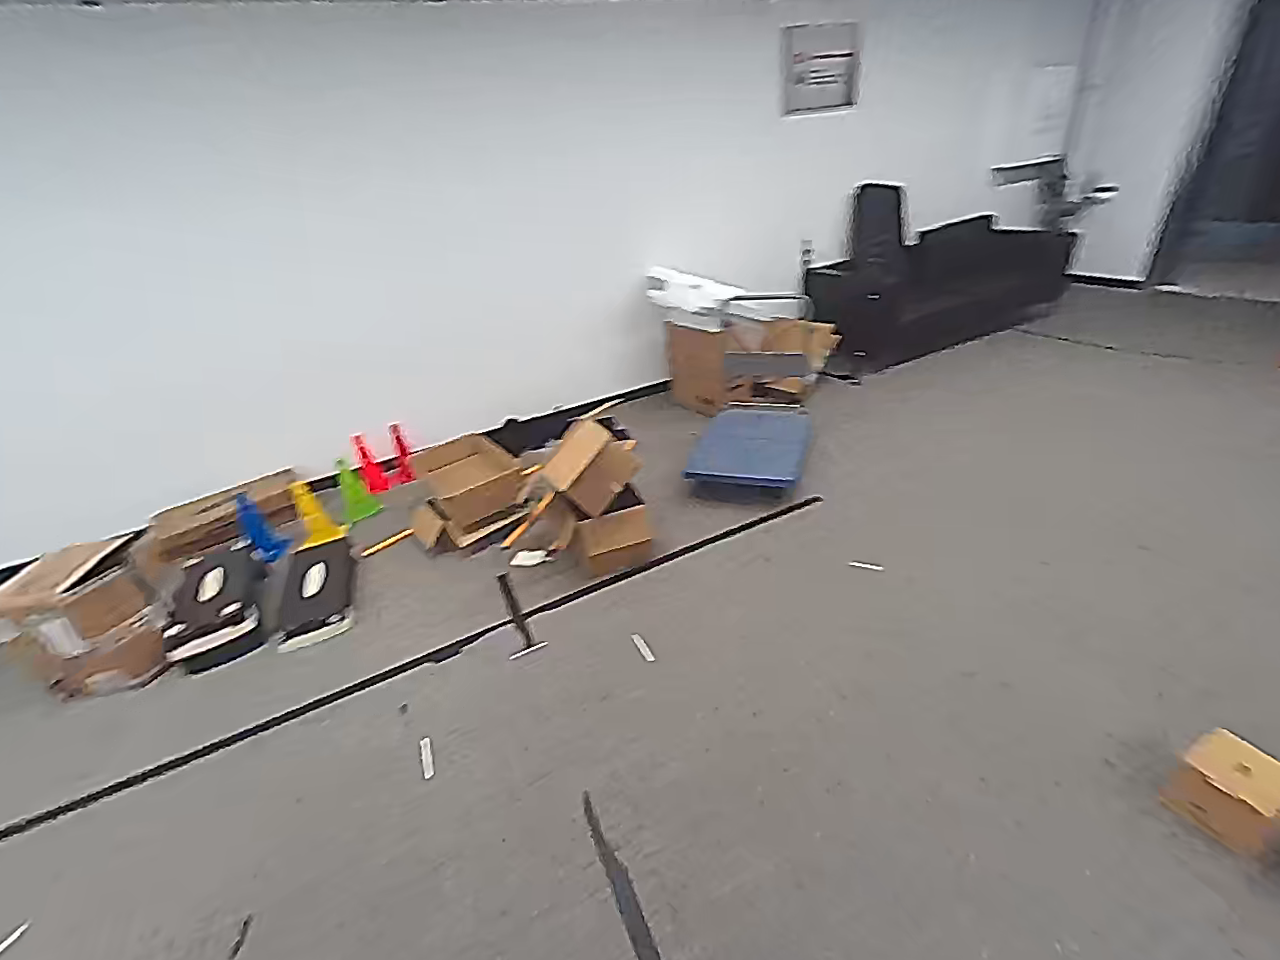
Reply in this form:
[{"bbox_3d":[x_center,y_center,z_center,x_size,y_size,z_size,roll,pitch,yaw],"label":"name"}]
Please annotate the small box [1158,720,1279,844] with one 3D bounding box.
[{"bbox_3d":[1.437,0.741,1.330,0.179,0.176,0.168,-19,31,-19],"label":"small box"}]
